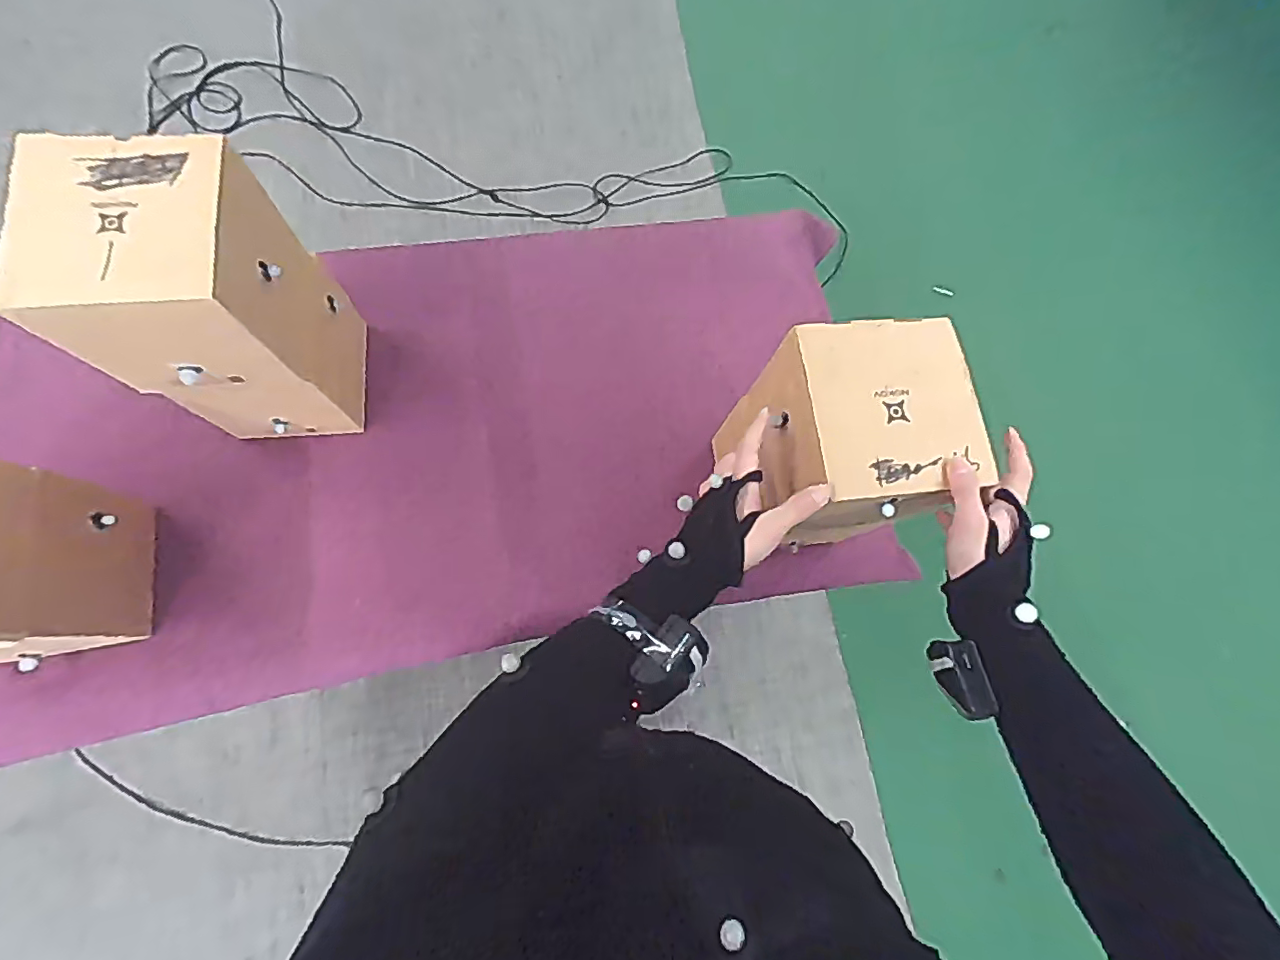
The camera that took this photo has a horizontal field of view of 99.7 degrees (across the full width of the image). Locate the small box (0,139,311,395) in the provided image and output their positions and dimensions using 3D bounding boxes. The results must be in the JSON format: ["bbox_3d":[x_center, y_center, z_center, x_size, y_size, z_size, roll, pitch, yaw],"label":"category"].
[{"bbox_3d":[-0.457,-0.202,0.543,0.168,0.176,0.179,-5,76,-8],"label":"small box"}]

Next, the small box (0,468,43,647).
[{"bbox_3d":[-0.666,0.063,0.446,0.168,0.176,0.179,-8,73,-8],"label":"small box"}]

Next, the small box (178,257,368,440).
[{"bbox_3d":[-0.471,-0.164,0.703,0.168,0.176,0.179,-3,75,-8],"label":"small box"}]

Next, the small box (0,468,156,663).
[{"bbox_3d":[-0.689,0.103,0.601,0.168,0.176,0.179,-8,75,-9],"label":"small box"}]

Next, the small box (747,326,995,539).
[{"bbox_3d":[0.224,-0.043,0.578,0.168,0.176,0.179,-5,75,-7],"label":"small box"}]
